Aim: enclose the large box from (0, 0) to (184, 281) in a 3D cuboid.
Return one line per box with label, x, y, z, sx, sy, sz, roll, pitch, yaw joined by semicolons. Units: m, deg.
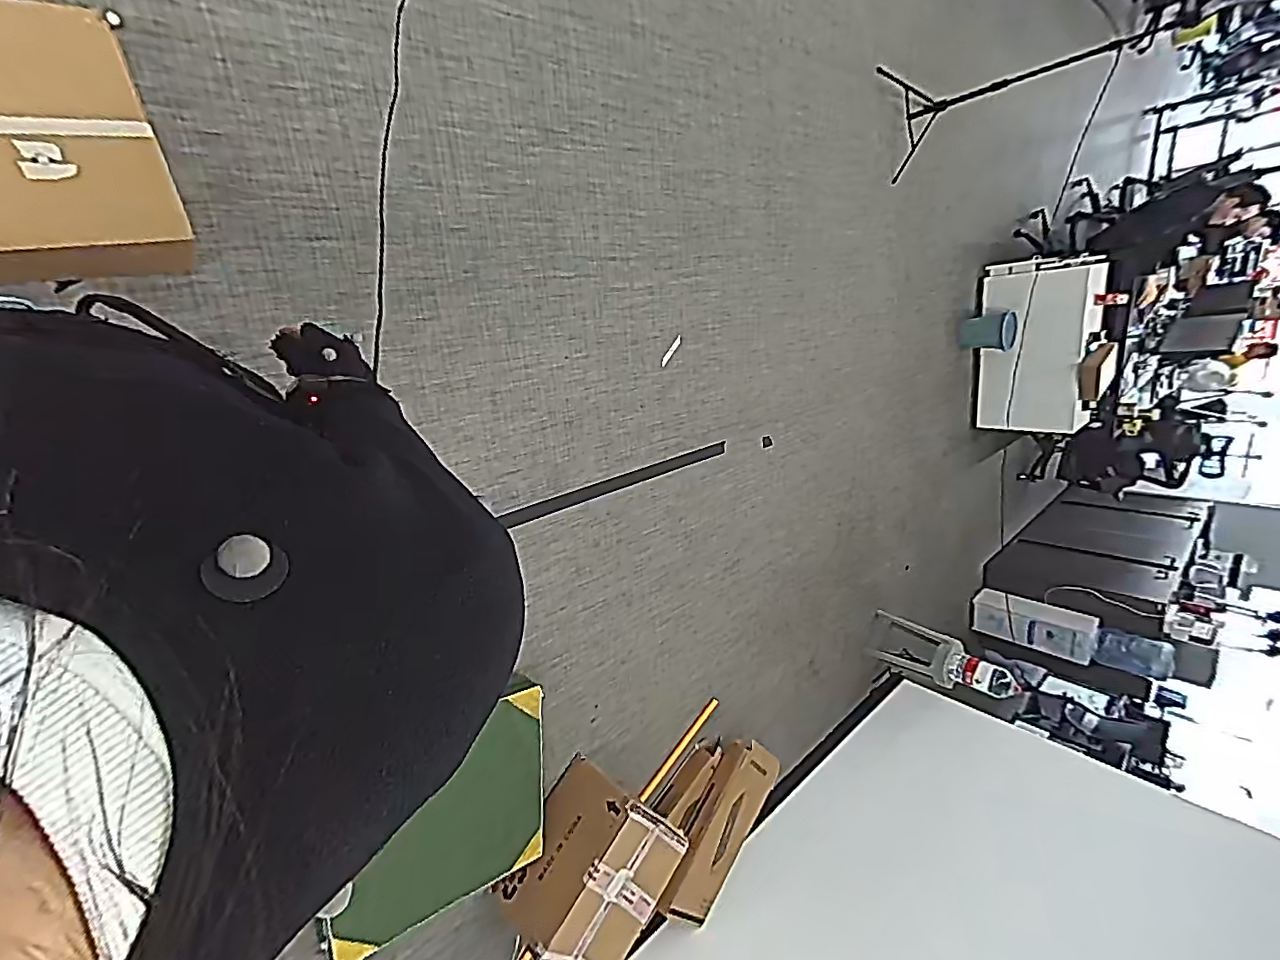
large box;-1.014;-0.497;0.835;0.408;0.320;0.320;-23;113;-36
